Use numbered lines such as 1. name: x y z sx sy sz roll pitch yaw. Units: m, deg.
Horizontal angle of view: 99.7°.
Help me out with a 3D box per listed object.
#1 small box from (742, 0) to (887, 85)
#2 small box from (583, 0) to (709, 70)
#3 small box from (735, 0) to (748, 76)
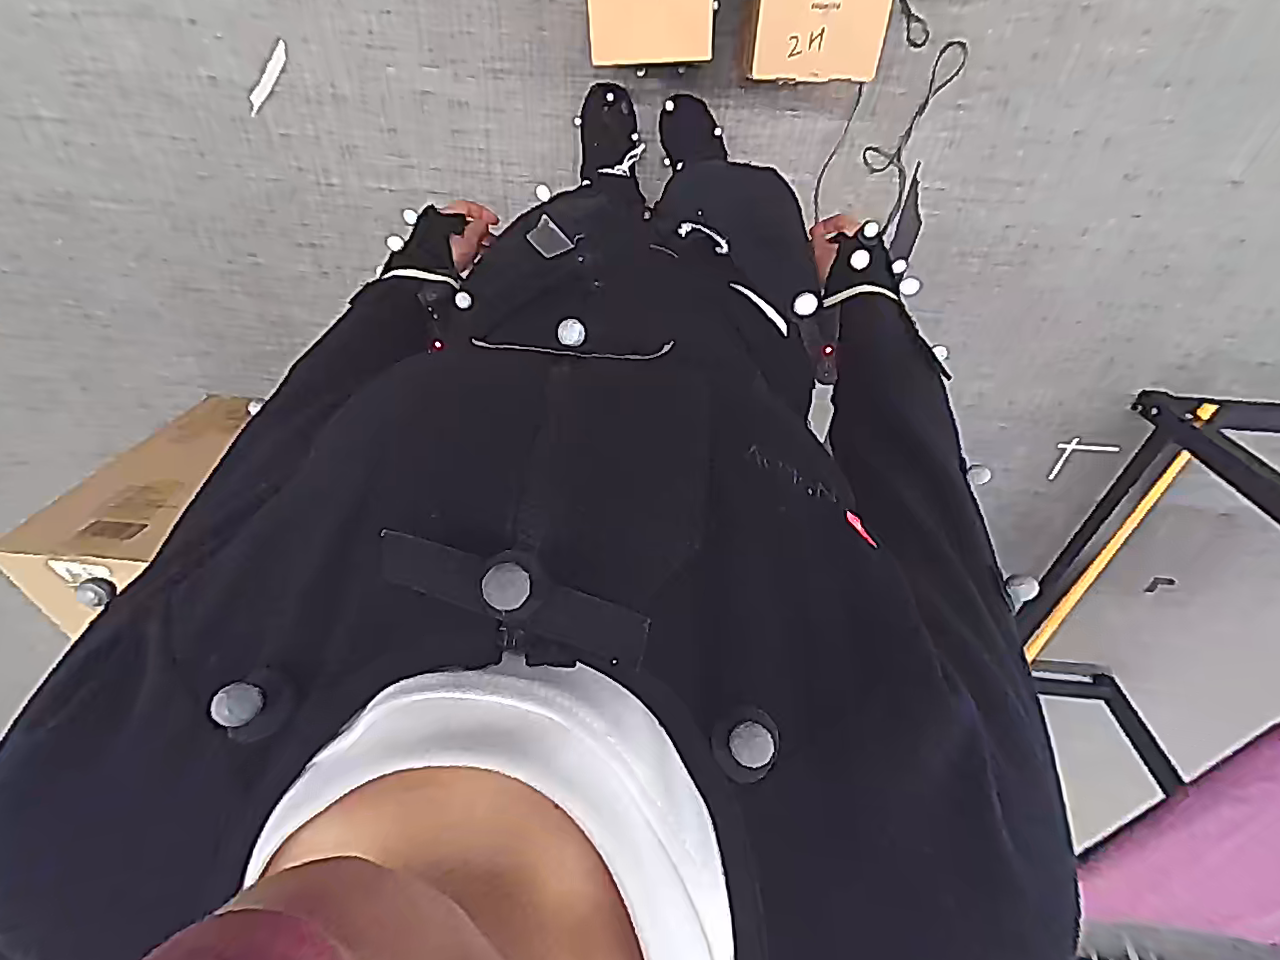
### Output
1. small box: 0.237 -0.659 0.746 0.168 0.176 0.179 4 129 3
2. small box: 0.014 -0.685 0.752 0.168 0.176 0.179 1 127 5
3. small box: 0.249 -0.760 0.875 0.168 0.176 0.179 5 129 2
